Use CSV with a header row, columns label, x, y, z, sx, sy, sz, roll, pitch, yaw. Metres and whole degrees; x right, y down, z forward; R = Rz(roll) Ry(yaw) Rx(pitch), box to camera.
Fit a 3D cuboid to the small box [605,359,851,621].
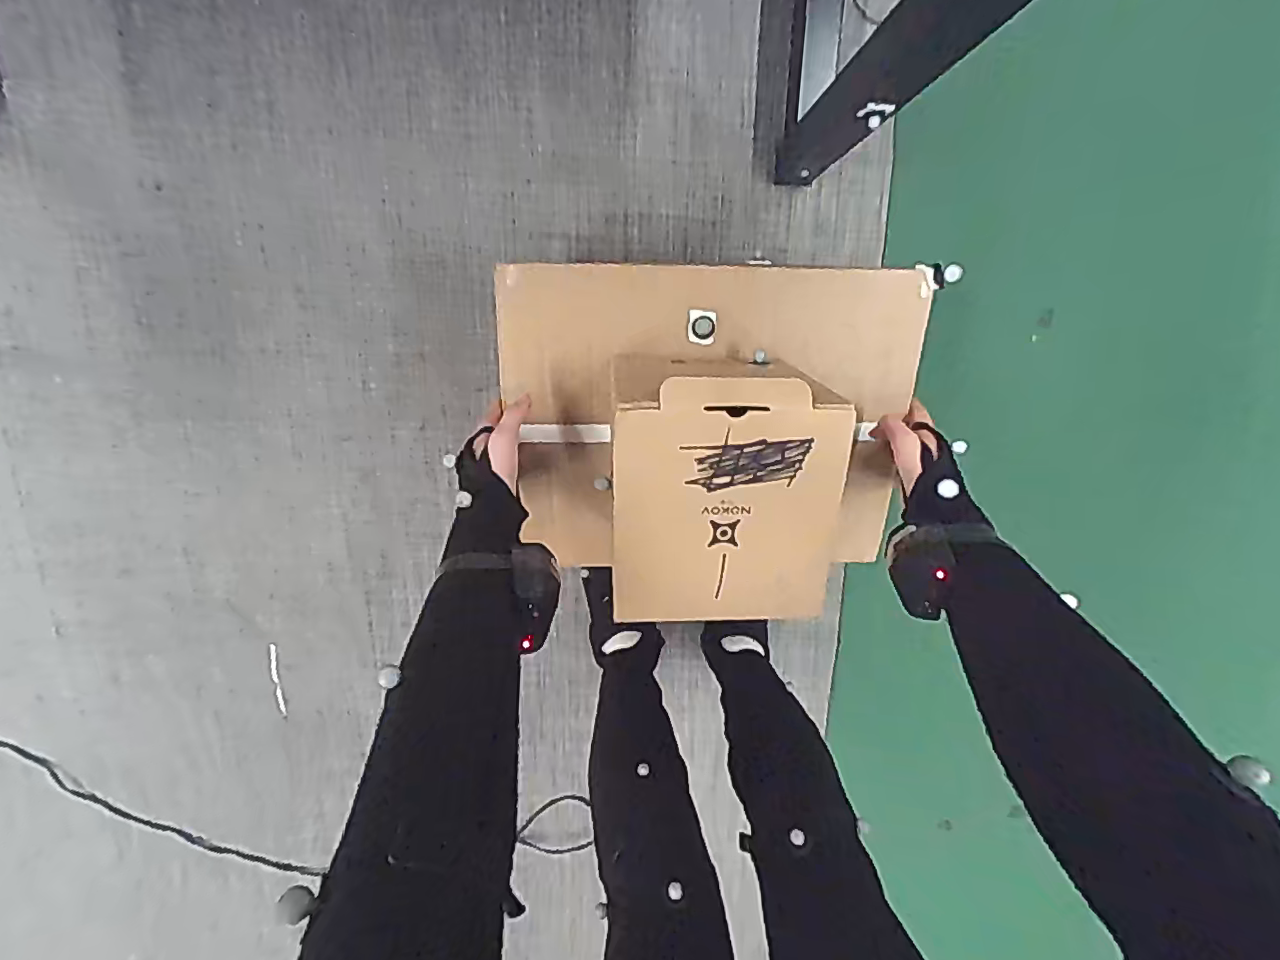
label,x,y,z,sx,sy,sz,roll,pitch,yaw
small box,0.054,-0.003,0.459,0.168,0.176,0.179,0,114,-3
